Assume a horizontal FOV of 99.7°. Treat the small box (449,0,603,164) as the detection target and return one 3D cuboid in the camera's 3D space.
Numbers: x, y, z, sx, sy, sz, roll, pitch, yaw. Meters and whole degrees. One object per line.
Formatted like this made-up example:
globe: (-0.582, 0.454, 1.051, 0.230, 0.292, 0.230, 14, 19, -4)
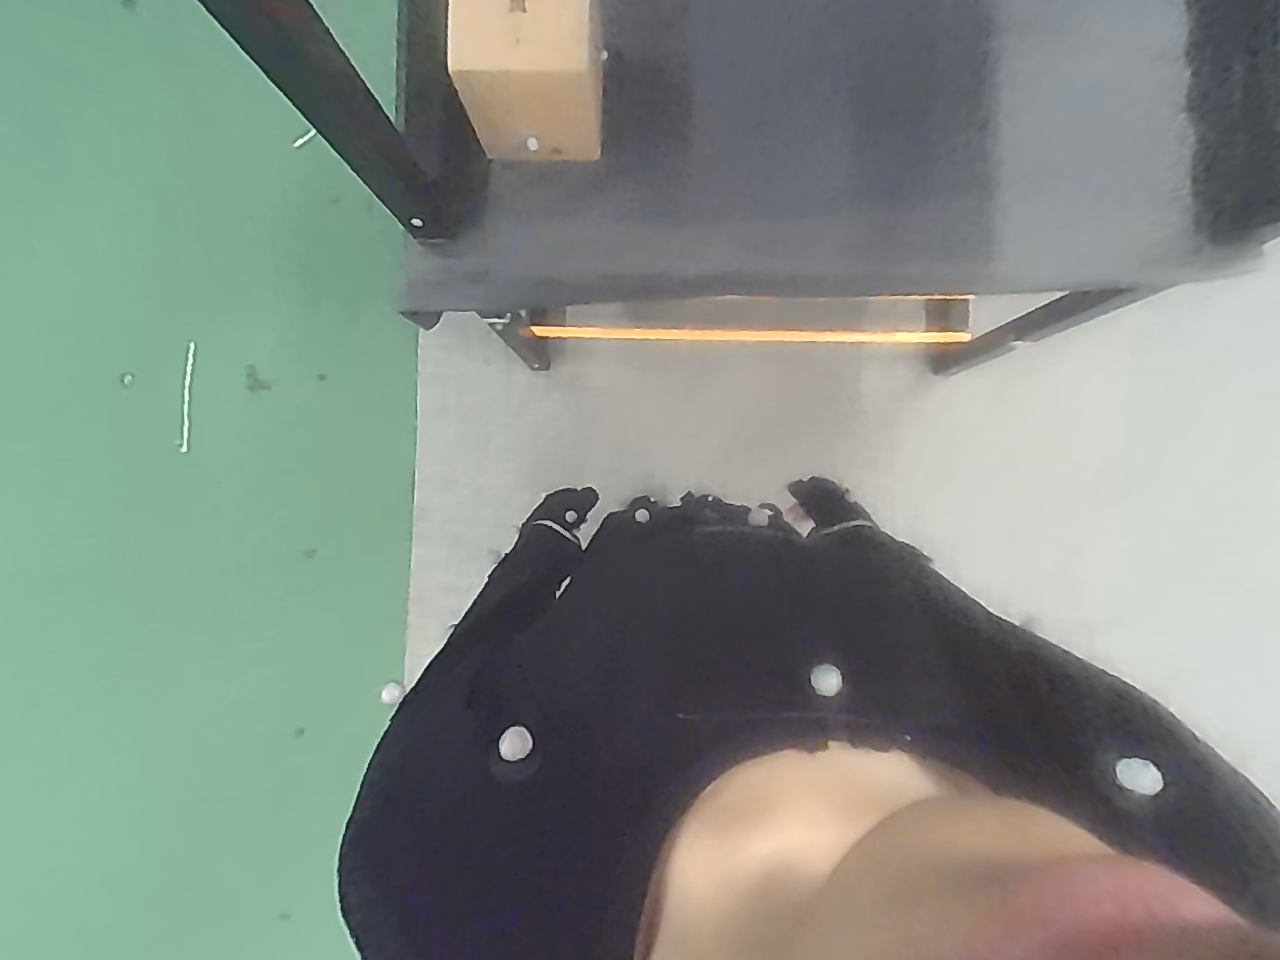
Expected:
small box: (-0.139, -0.555, 0.712, 0.168, 0.176, 0.179, 1, 88, 1)
